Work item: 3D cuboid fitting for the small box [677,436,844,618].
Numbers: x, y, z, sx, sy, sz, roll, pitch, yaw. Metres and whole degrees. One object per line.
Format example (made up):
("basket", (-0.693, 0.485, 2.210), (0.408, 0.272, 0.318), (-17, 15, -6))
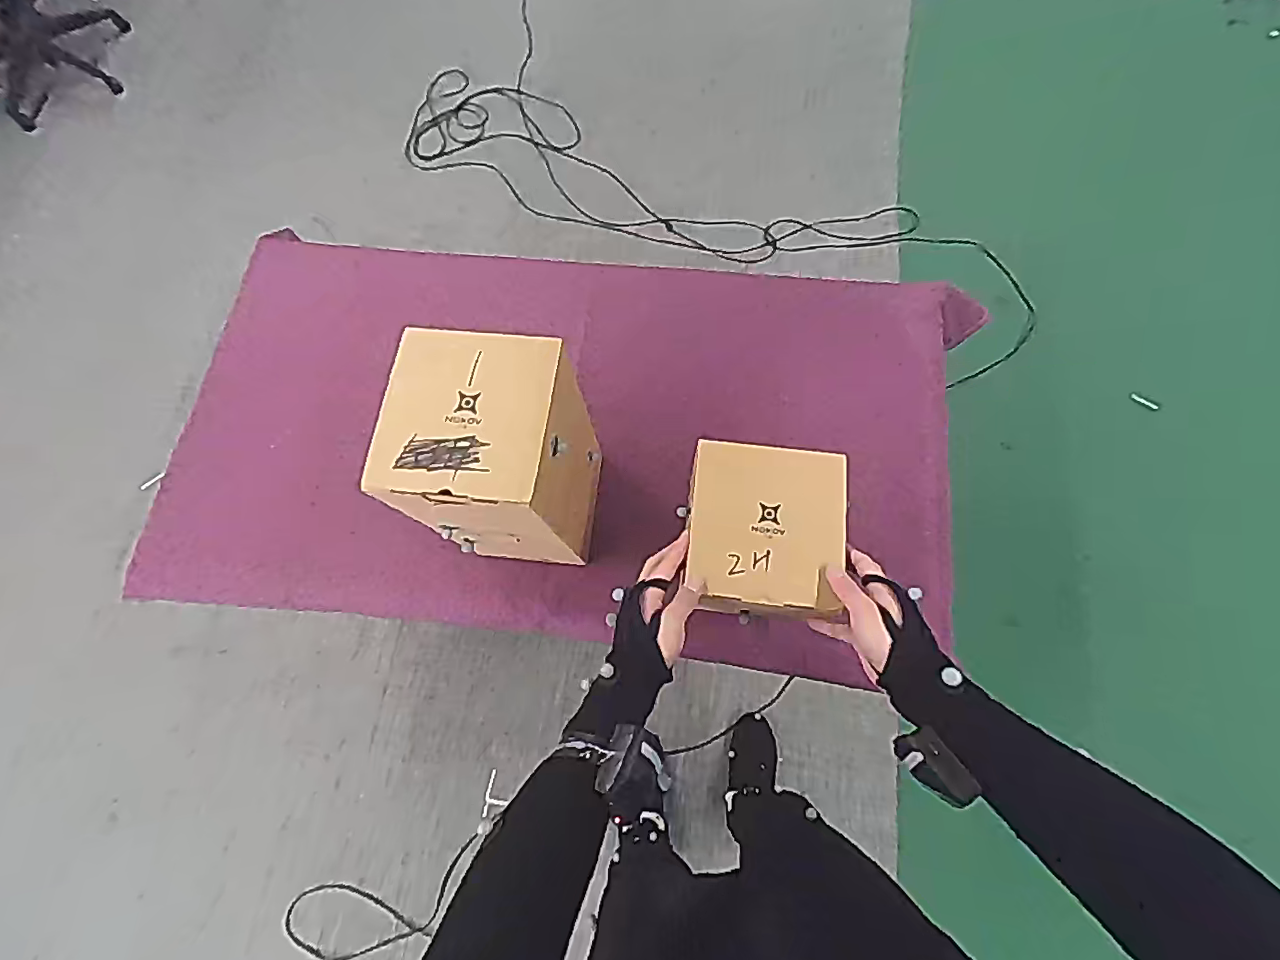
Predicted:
("small box", (0.137, 0.065, 0.658), (0.168, 0.176, 0.179), (7, 74, 5))

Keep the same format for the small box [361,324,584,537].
("small box", (-0.163, -0.043, 0.590), (0.168, 0.176, 0.179), (6, 72, 5))
